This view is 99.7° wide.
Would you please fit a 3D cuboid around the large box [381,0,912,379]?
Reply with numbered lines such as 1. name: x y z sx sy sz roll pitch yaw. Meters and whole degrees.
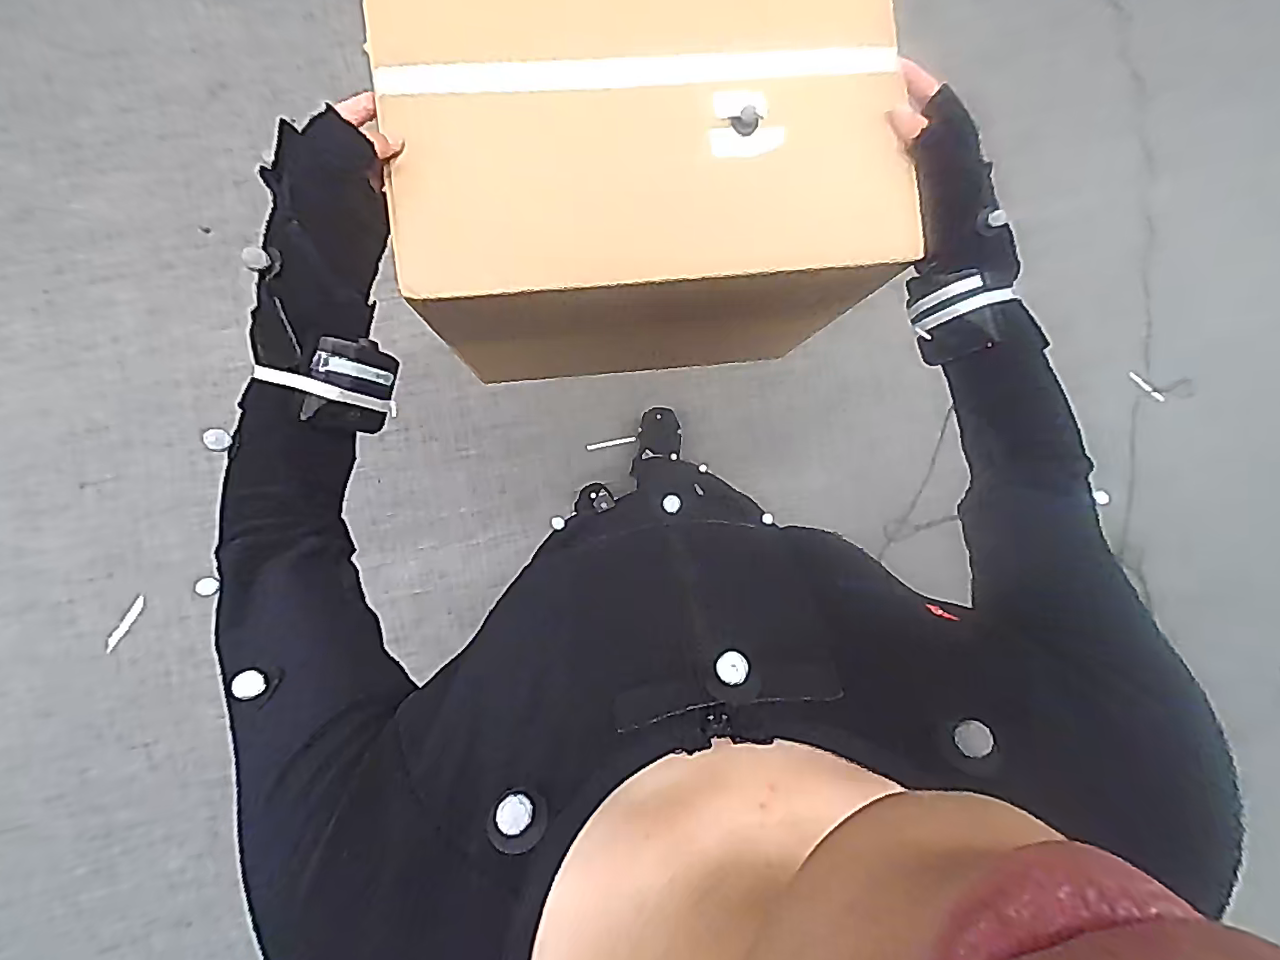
1. large box: -0.007 -0.311 0.574 0.408 0.320 0.320 -7 89 -6
